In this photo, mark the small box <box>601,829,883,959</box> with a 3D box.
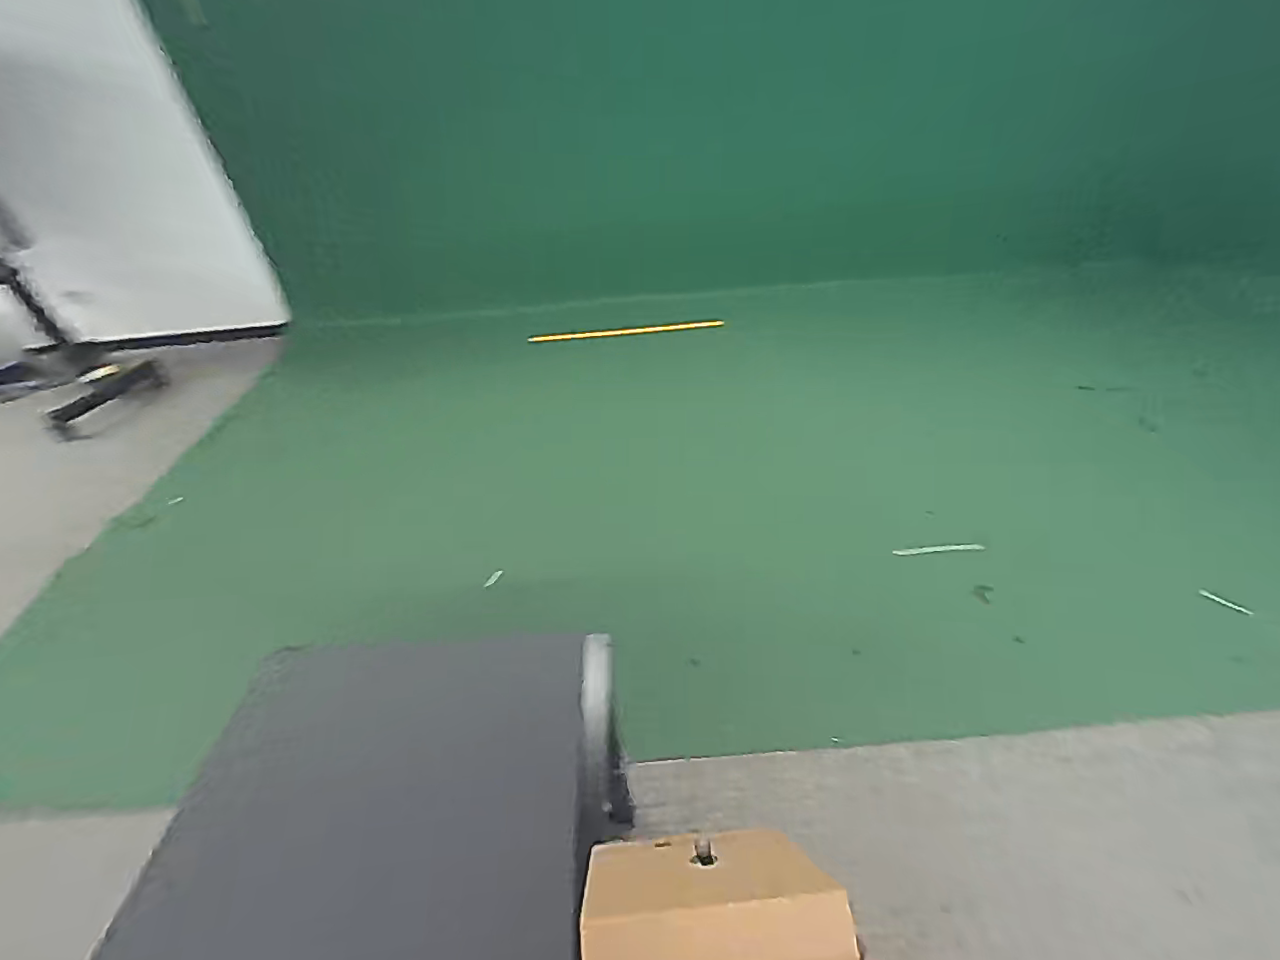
[{"bbox_3d":[0.058,0.351,0.363,0.168,0.176,0.179,-3,68,-2],"label":"small box"}]
